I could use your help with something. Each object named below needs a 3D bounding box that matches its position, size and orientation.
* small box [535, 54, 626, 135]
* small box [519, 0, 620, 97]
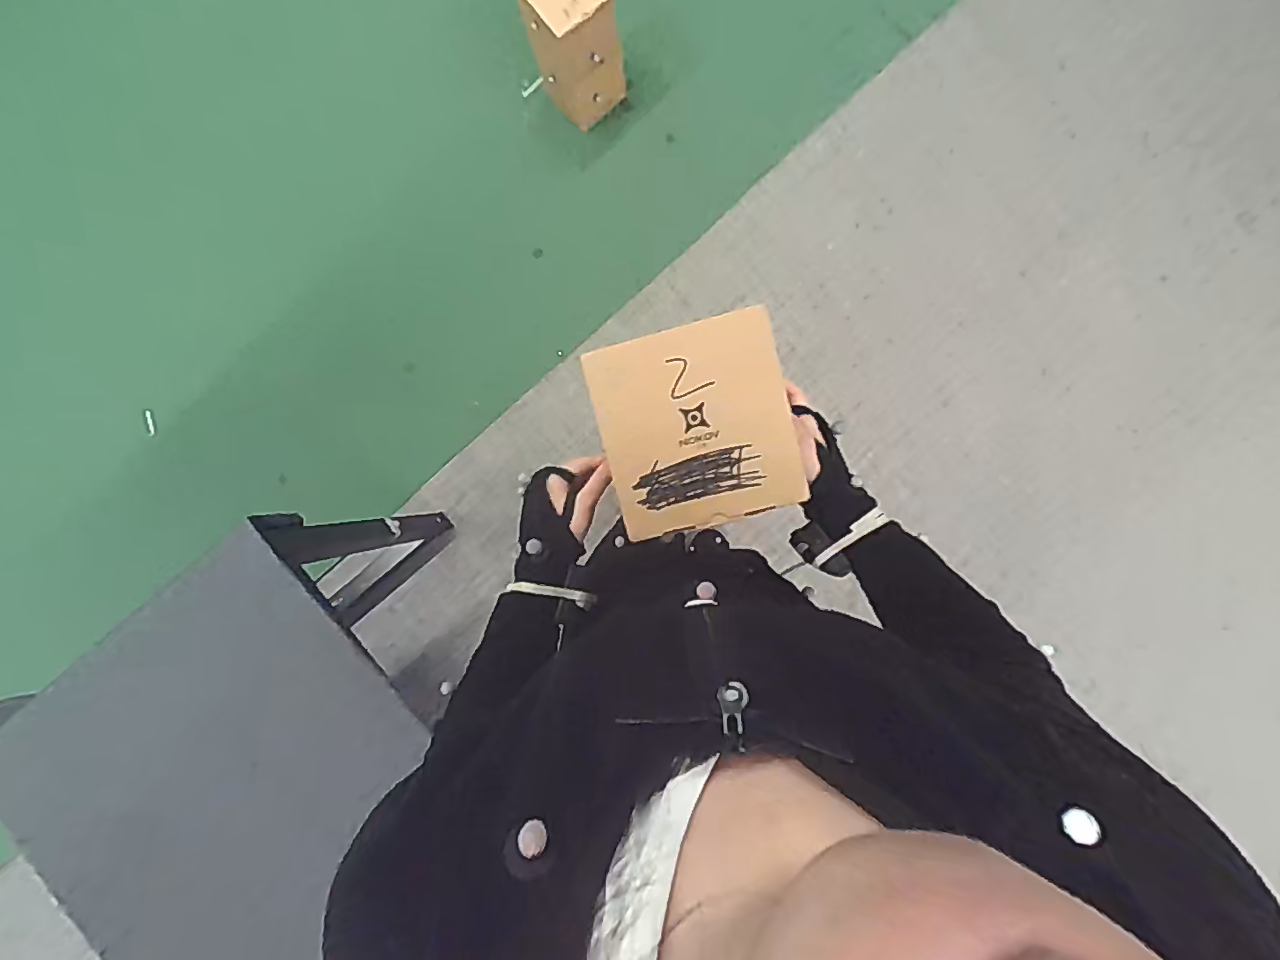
[{"bbox_3d":[-0.156,-1.097,1.488,0.168,0.176,0.179,-41,86,1],"label":"small box"},{"bbox_3d":[-0.168,-1.101,1.323,0.168,0.176,0.179,-38,87,2],"label":"small box"}]
